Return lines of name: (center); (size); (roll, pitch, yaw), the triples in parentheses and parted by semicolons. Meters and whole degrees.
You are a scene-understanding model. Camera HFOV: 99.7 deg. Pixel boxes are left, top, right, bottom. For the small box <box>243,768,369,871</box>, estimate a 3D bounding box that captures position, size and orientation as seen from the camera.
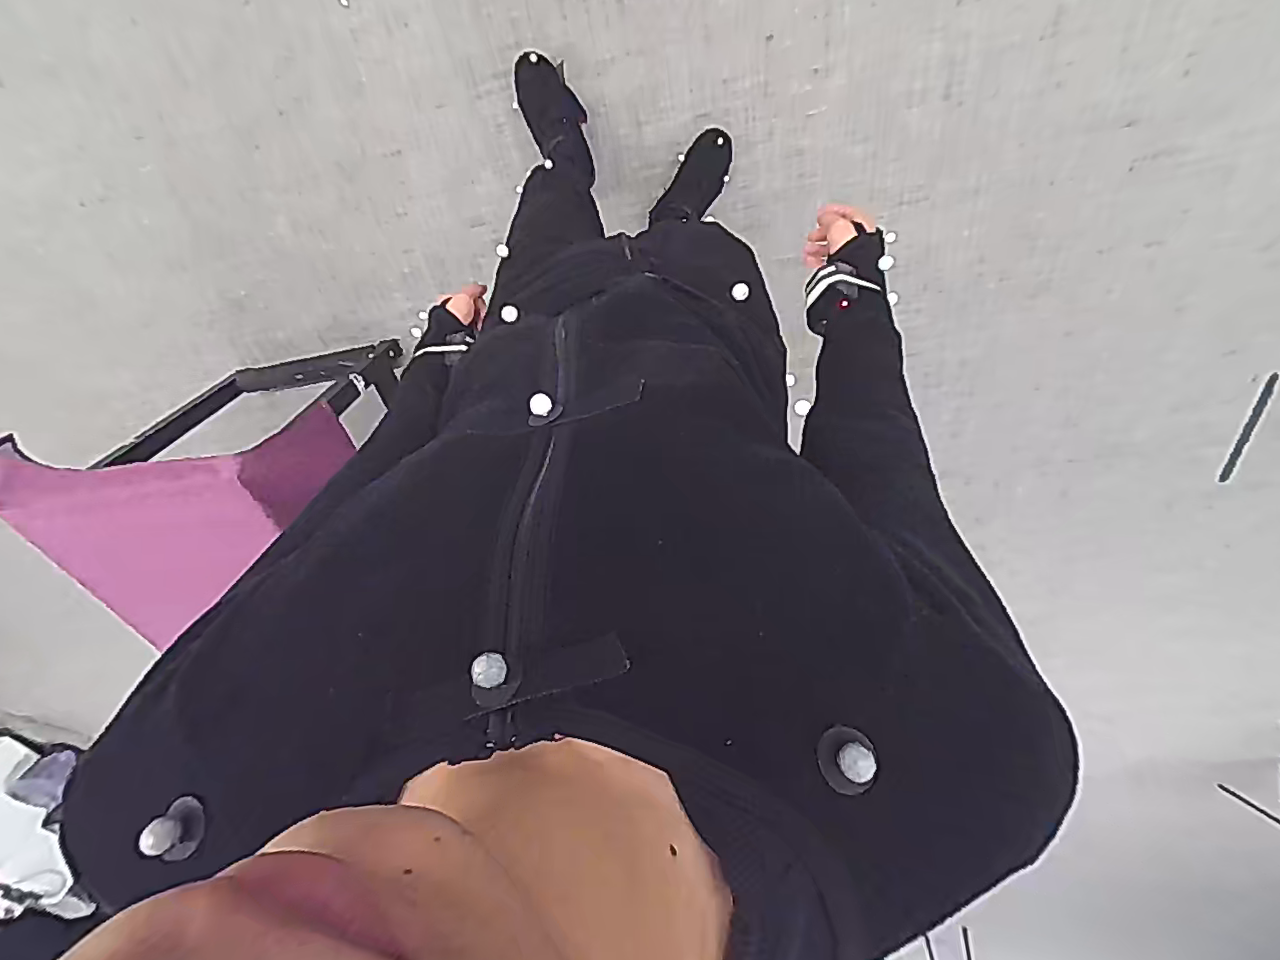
small box: (-0.831, 0.855, 1.366); (0.179, 0.176, 0.168); (-17, 124, 16)
